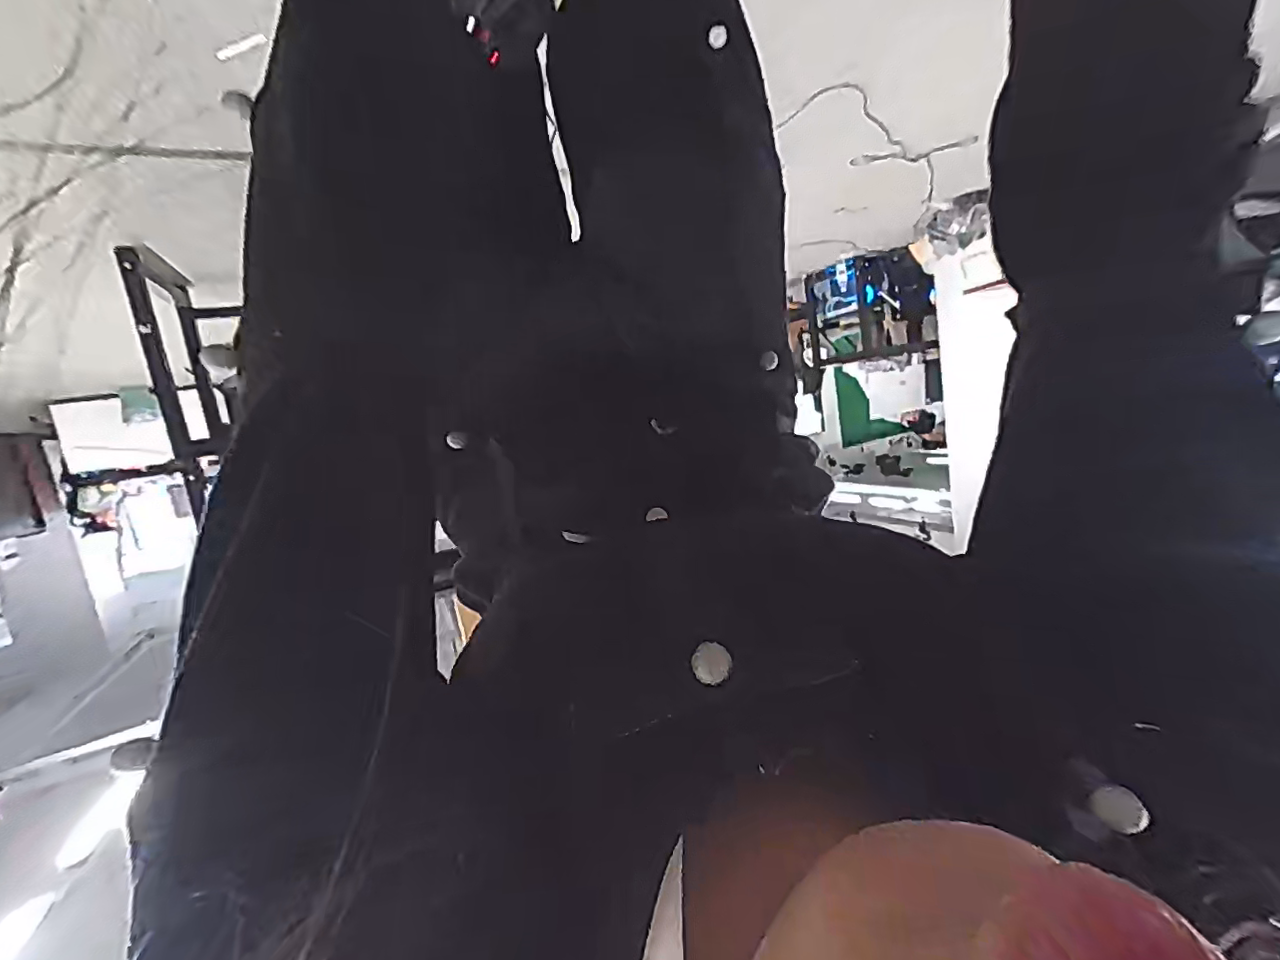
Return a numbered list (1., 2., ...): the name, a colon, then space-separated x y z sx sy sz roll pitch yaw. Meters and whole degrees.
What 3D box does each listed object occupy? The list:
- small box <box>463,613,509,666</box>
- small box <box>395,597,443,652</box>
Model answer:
1. small box: -0.727 0.743 2.542 0.168 0.176 0.179 -13 -171 -24
2. small box: -0.987 0.637 2.407 0.168 0.176 0.179 -12 -171 -26
